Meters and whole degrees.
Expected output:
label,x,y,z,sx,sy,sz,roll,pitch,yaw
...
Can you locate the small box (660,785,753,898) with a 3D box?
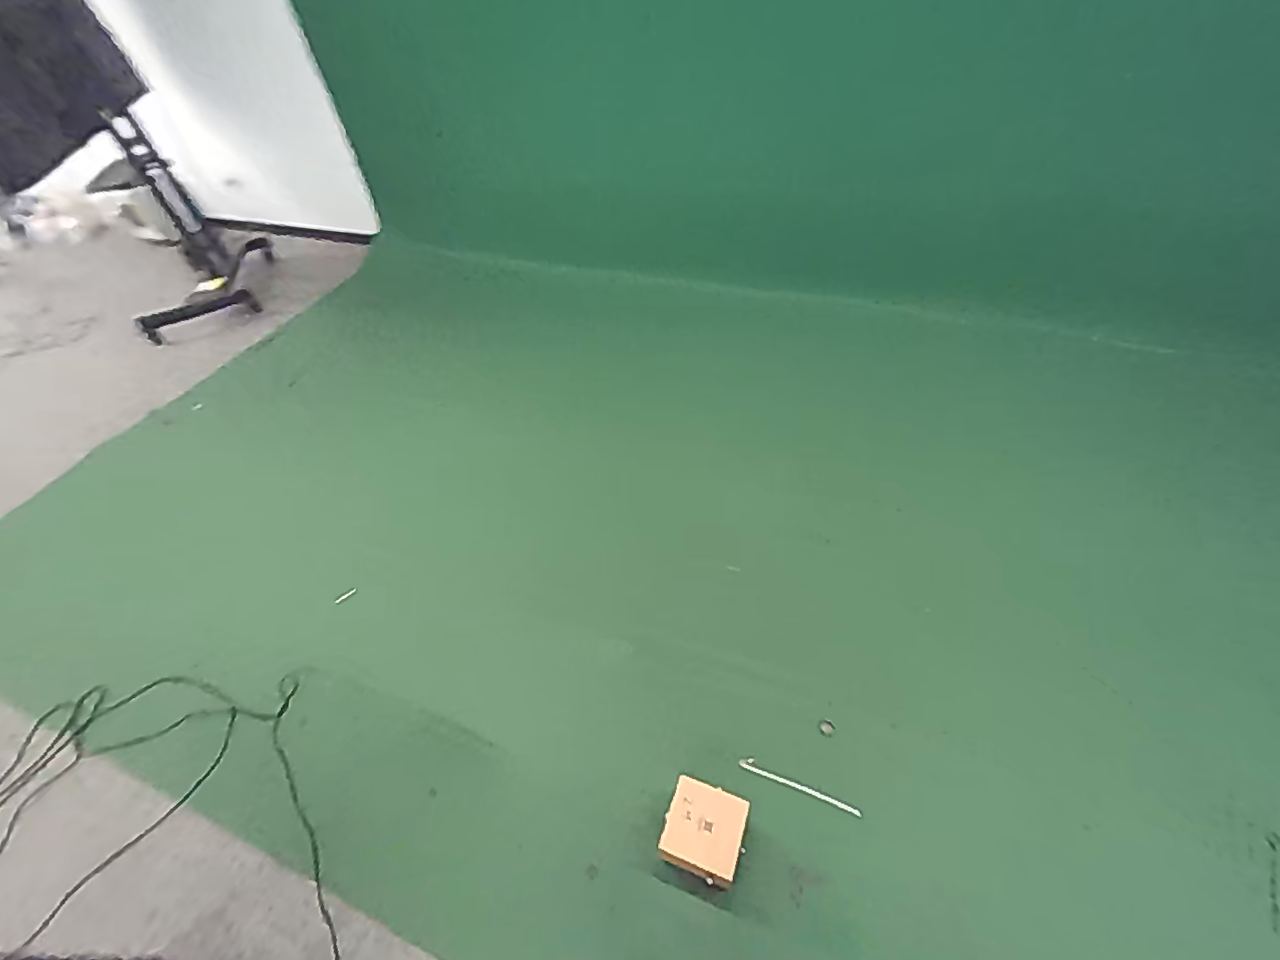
label,x,y,z,sx,sy,sz,roll,pitch,yaw
small box,0.159,0.870,1.297,0.179,0.176,0.168,14,50,18
